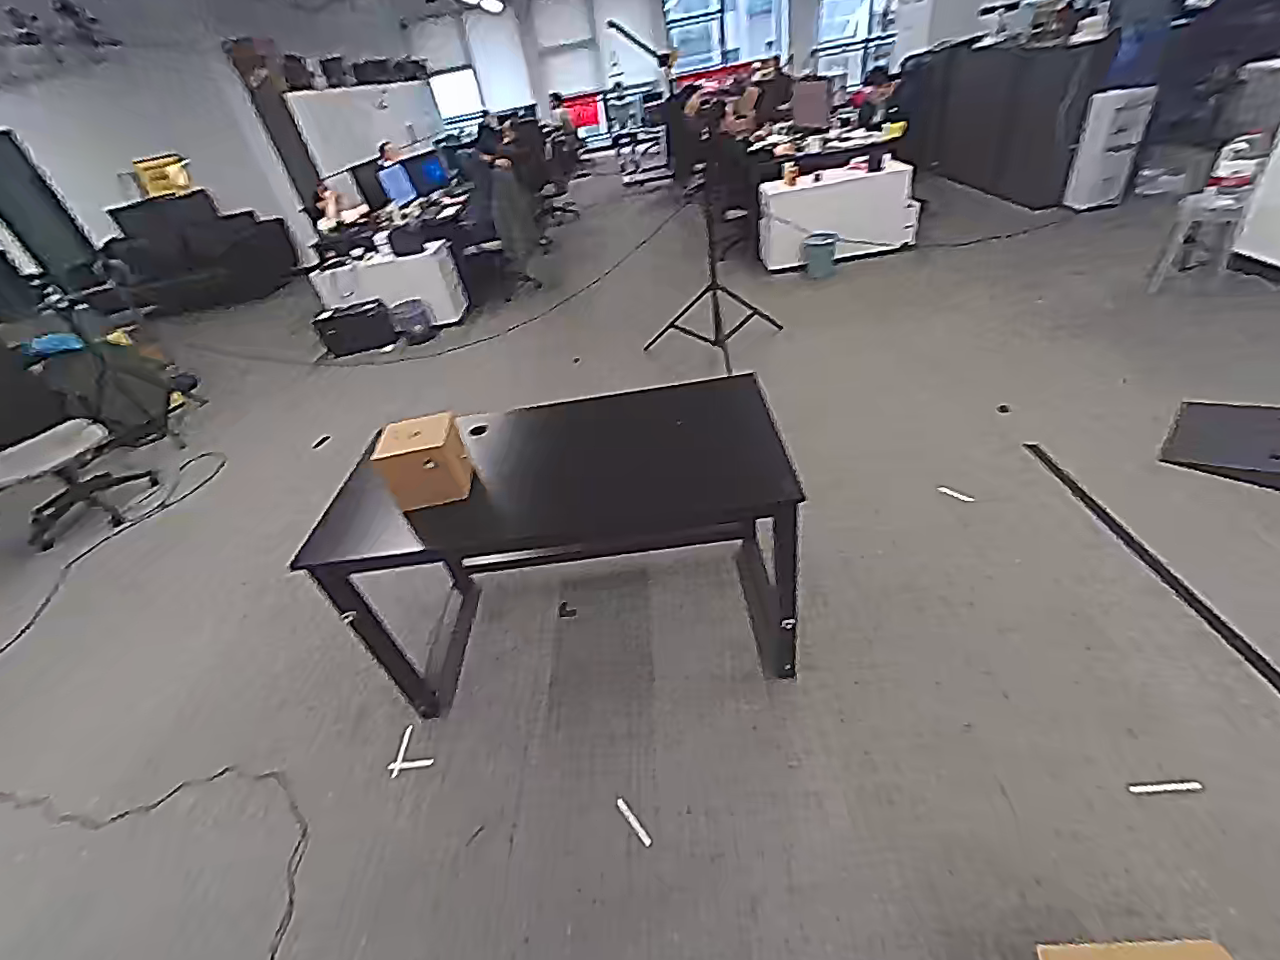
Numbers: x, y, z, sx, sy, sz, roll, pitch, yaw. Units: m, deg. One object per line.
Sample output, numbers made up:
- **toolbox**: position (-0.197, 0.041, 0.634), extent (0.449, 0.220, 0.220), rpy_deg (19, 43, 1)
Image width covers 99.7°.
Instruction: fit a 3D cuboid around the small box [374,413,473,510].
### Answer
- **small box**: position (-0.544, -0.046, 1.392), extent (0.179, 0.176, 0.168), rpy_deg (-12, 37, -1)
